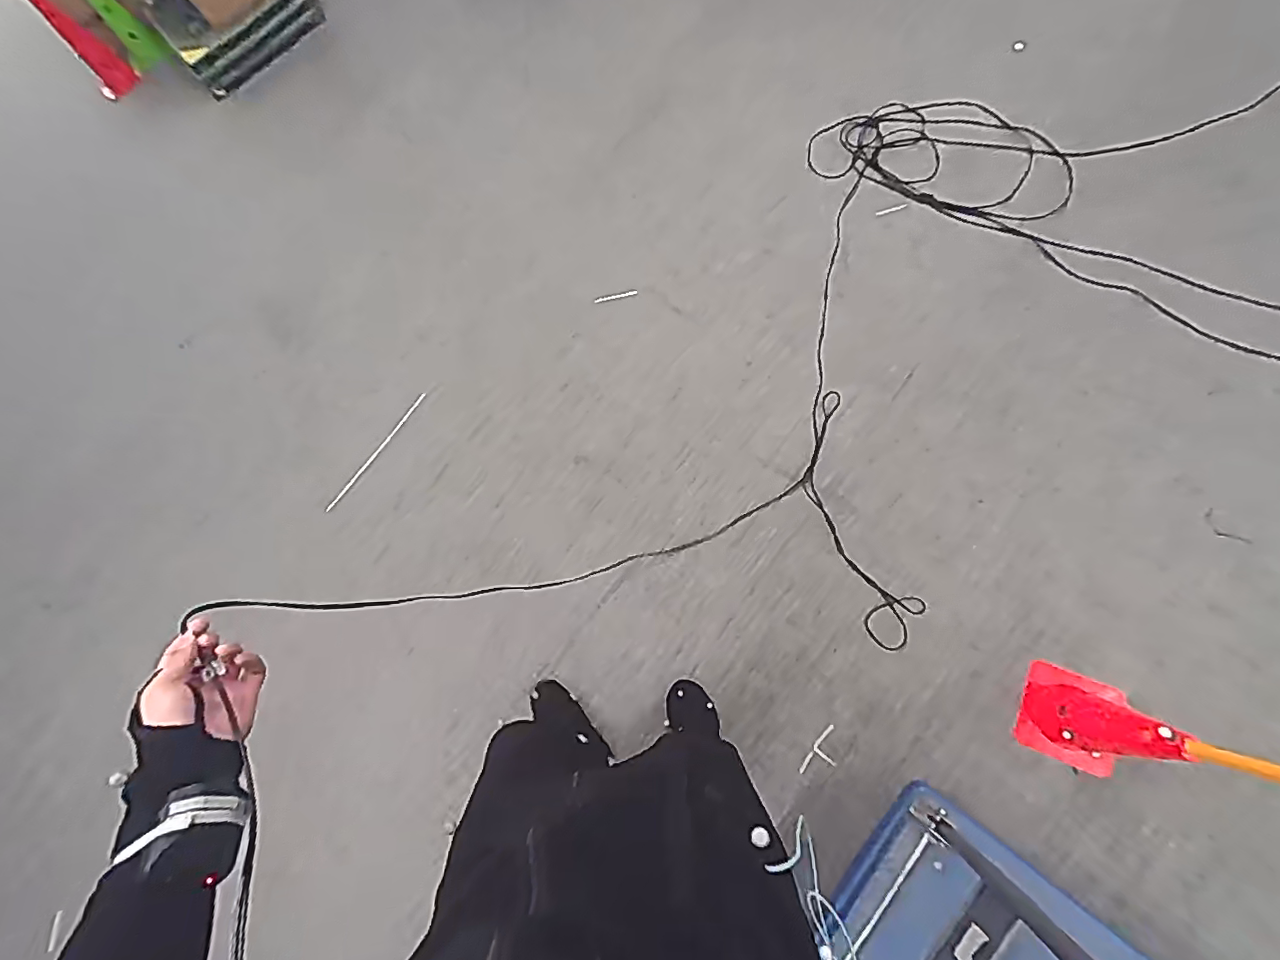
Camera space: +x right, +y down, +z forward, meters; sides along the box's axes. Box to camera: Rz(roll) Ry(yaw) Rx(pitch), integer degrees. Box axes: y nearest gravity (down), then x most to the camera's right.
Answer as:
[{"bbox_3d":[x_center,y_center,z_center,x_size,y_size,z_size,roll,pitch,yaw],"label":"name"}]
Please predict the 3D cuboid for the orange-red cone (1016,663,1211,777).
[{"bbox_3d":[0.956,0.496,1.069,0.198,0.360,0.199,21,78,14],"label":"orange-red cone"}]
